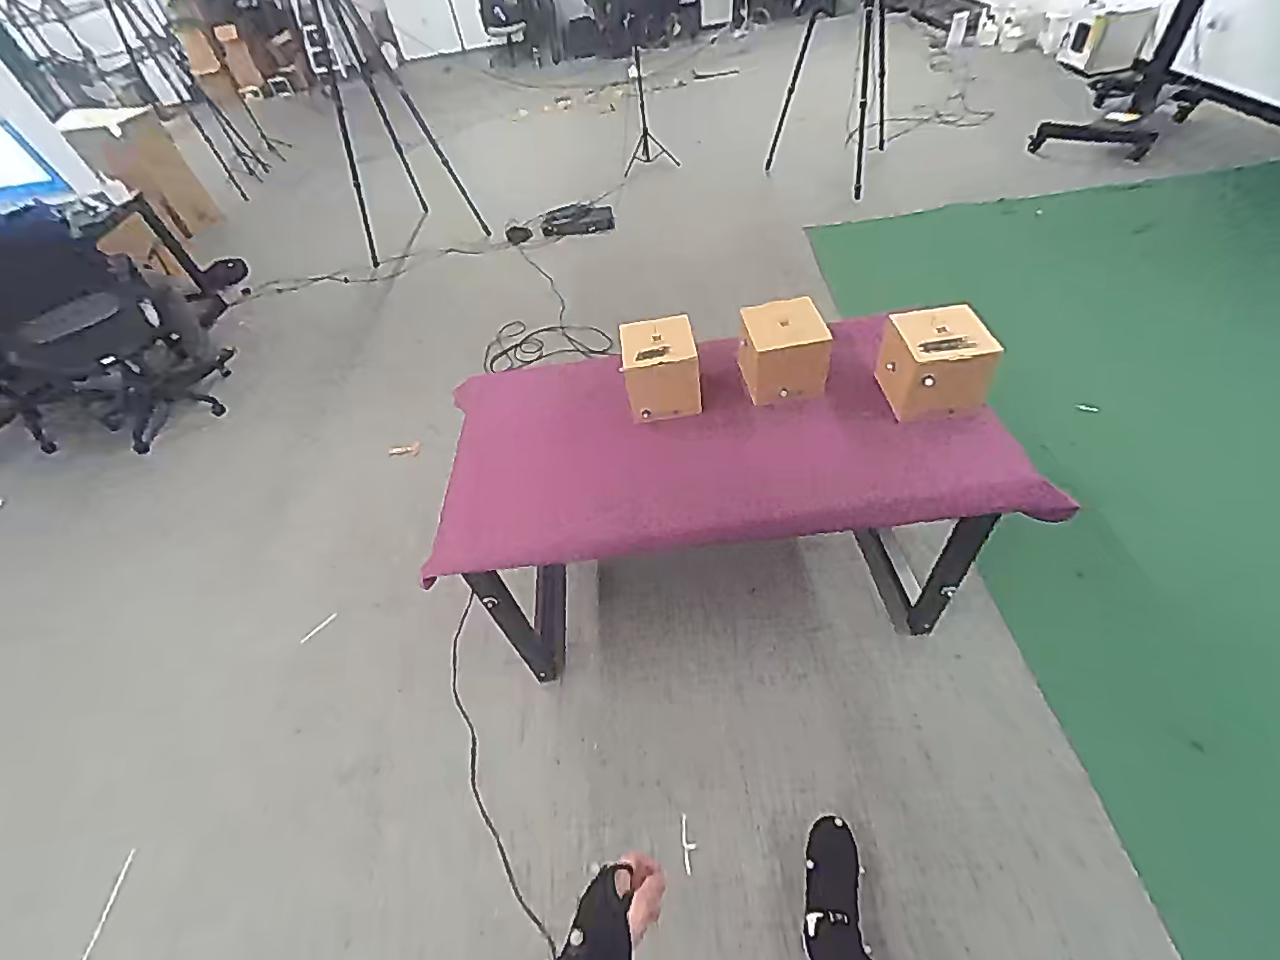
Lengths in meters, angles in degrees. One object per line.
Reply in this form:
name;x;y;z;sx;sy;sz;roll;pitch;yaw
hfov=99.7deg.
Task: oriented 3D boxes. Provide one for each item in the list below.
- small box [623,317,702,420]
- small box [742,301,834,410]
small box;0.054;-0.257;1.285;0.168;0.176;0.179;-8;48;3
small box;0.337;-0.291;1.270;0.168;0.176;0.179;-9;49;3
